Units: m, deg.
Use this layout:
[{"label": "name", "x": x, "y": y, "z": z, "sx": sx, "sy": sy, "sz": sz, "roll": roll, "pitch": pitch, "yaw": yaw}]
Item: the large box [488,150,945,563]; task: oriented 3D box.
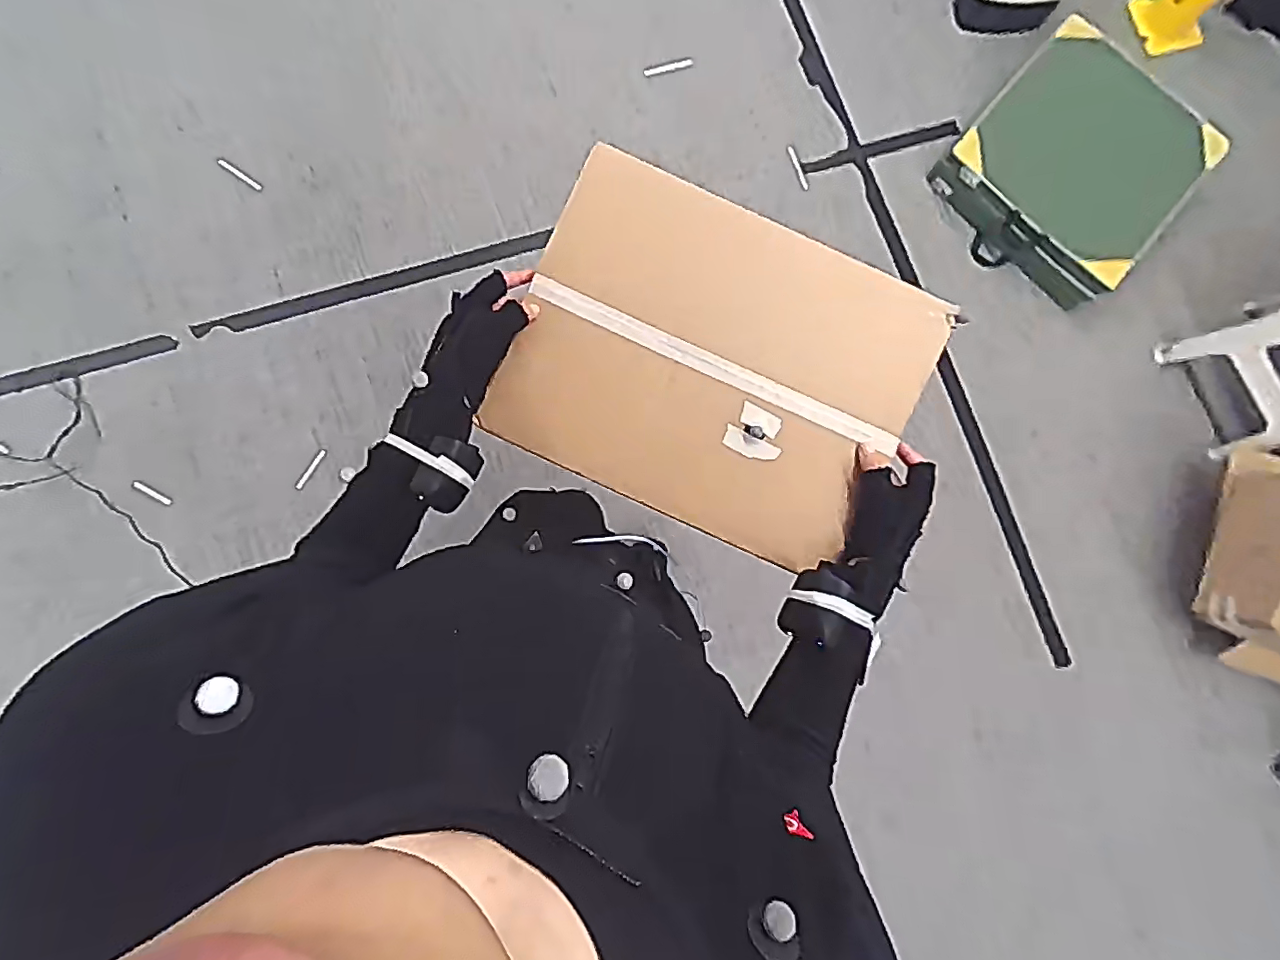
[{"label": "large box", "x": 0.077, "y": -0.132, "z": 0.714, "sx": 0.408, "sy": 0.320, "sz": 0.320, "roll": 25, "pitch": 93, "yaw": -1}]
